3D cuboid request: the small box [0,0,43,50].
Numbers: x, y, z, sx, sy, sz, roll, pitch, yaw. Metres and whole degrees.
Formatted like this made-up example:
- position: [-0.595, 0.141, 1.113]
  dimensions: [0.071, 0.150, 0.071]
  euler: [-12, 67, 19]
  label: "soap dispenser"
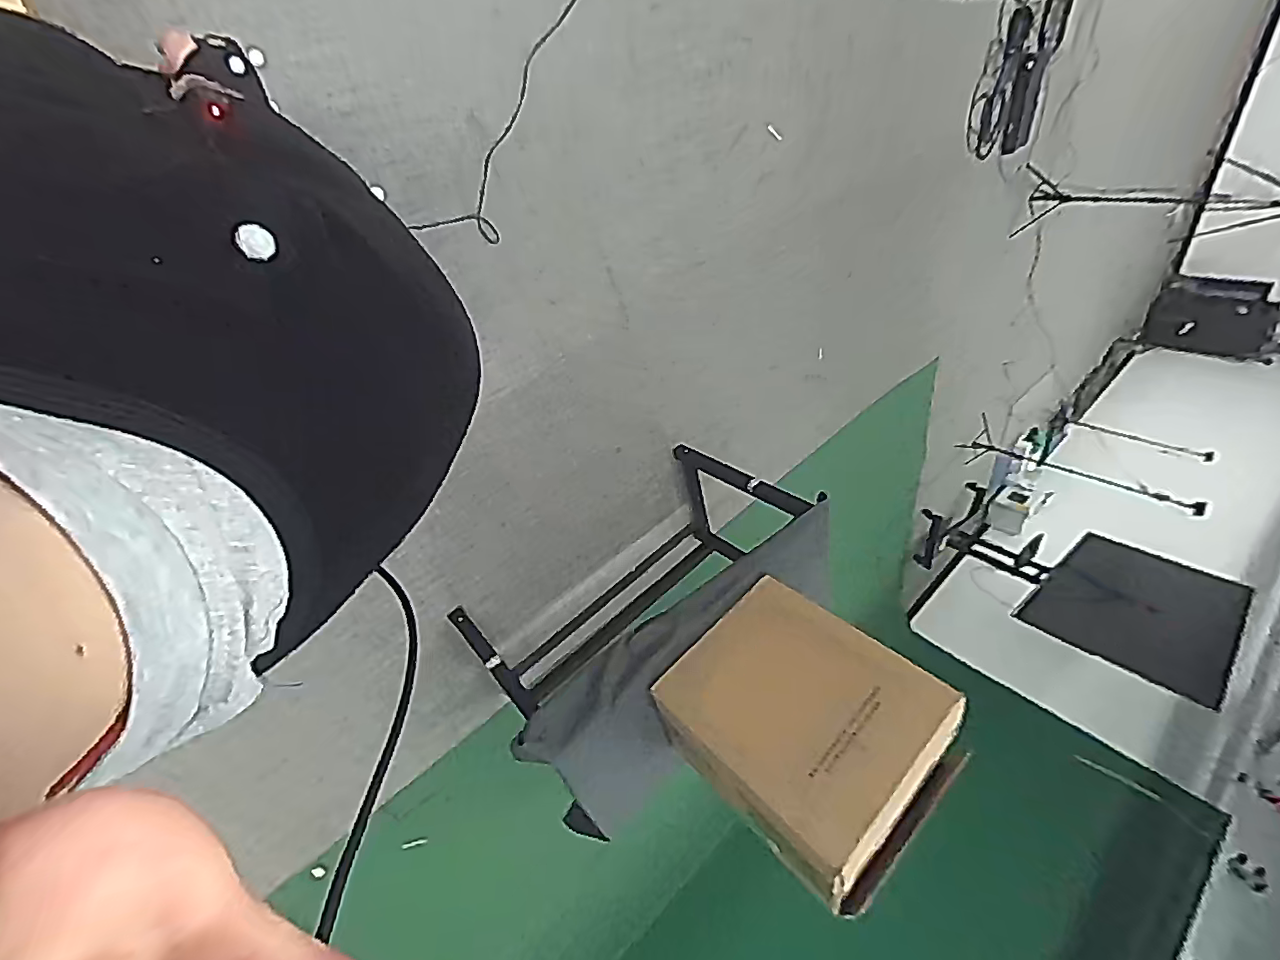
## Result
- position: [-0.833, -0.584, 0.597]
  dimensions: [0.179, 0.176, 0.168]
  euler: [-32, 132, -24]
  label: "small box"
